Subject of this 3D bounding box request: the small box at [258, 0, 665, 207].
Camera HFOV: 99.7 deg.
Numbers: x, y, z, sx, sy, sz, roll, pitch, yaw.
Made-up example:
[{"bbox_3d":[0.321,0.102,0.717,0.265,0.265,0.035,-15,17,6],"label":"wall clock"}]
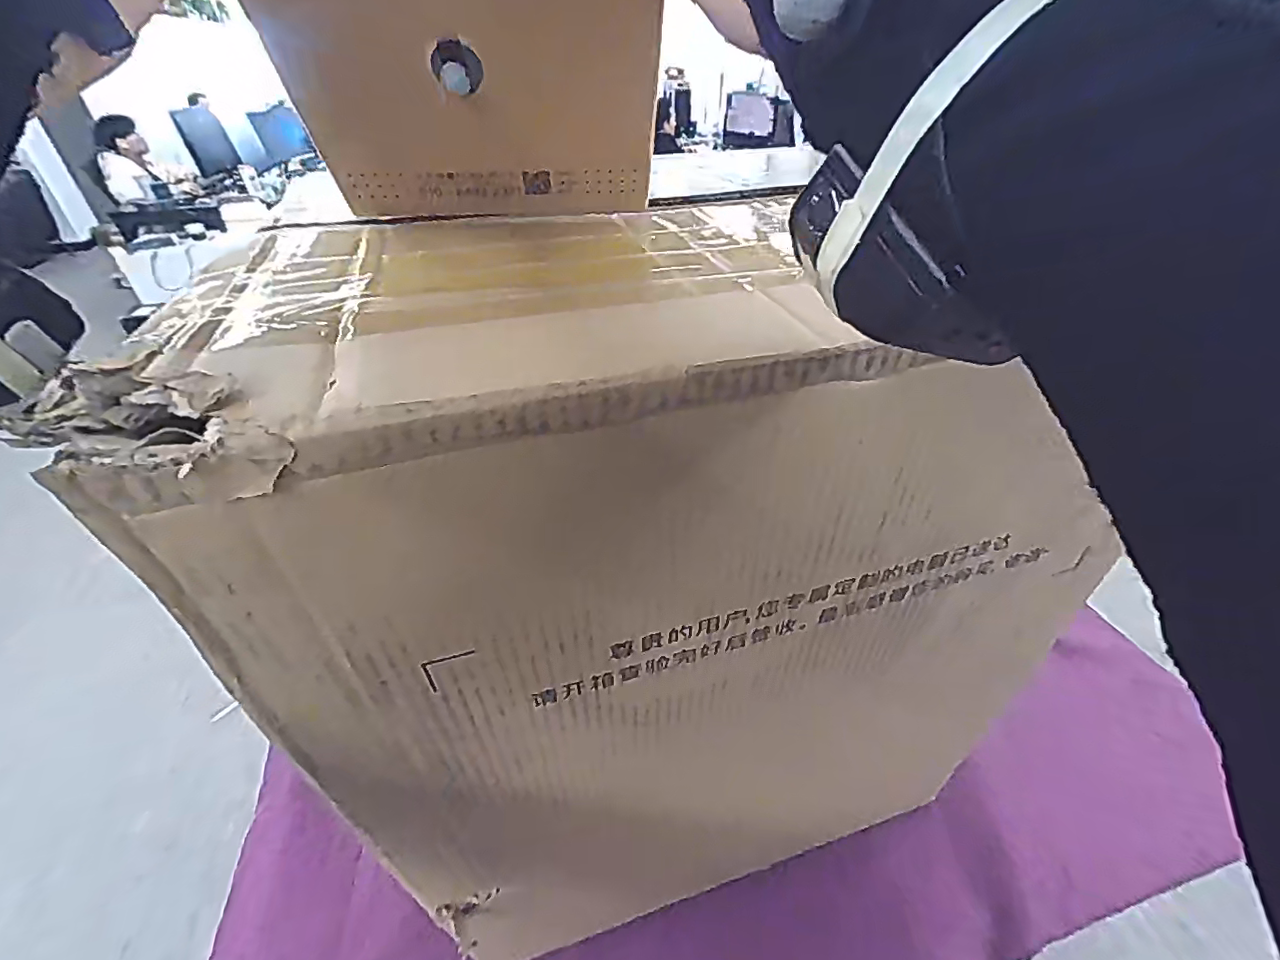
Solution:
[{"bbox_3d":[-0.076,-0.259,0.262,0.168,0.176,0.179,-3,69,-5],"label":"small box"}]
